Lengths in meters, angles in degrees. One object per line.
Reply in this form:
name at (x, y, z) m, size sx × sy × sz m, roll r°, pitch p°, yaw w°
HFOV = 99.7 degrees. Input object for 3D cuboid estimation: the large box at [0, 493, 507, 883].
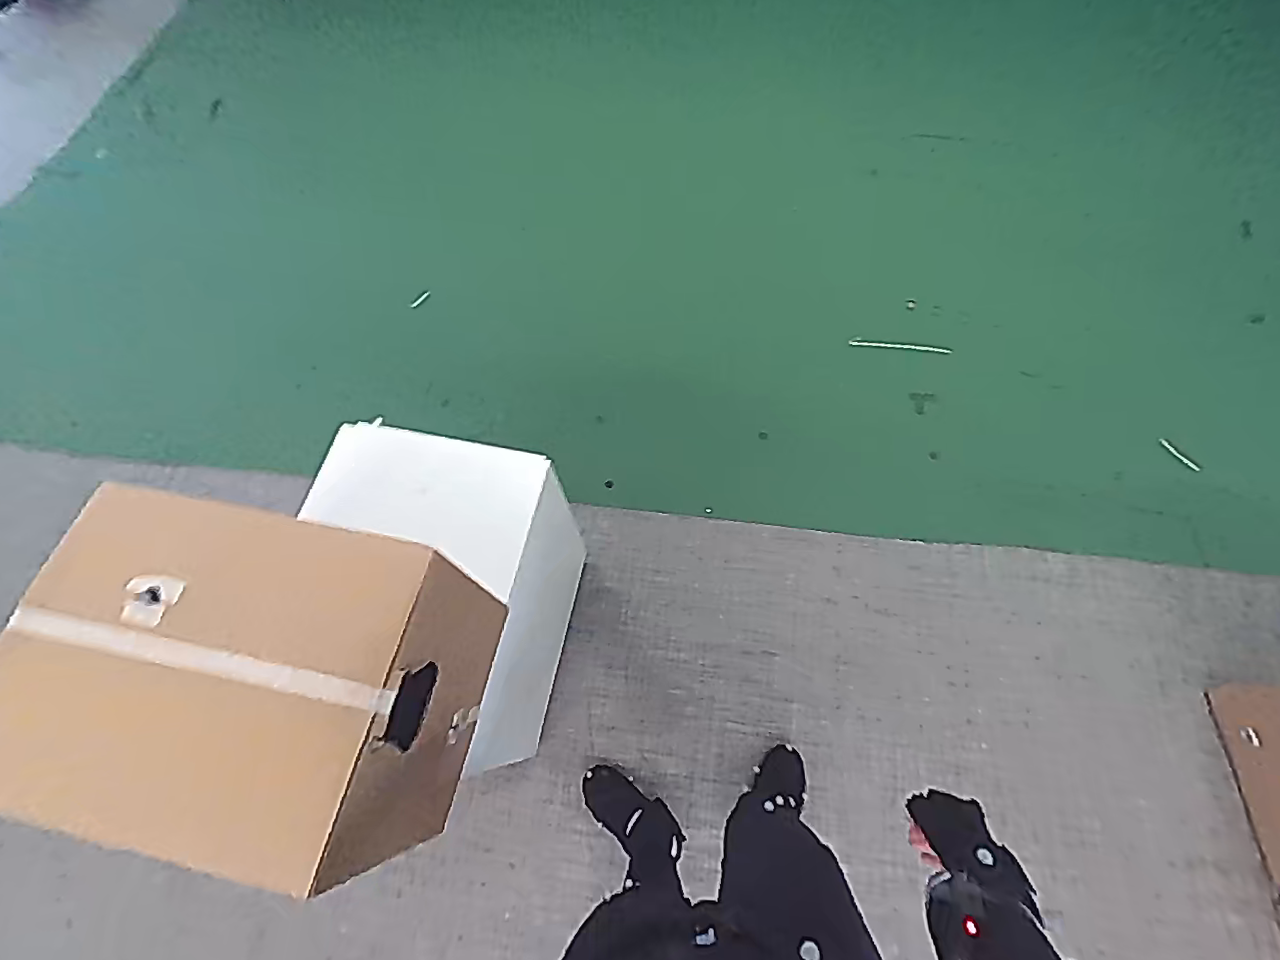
large box at (-0.431, 0.238, 0.675) m, size 0.408 × 0.320 × 0.320 m, roll 9°, pitch 66°, yaw 7°
